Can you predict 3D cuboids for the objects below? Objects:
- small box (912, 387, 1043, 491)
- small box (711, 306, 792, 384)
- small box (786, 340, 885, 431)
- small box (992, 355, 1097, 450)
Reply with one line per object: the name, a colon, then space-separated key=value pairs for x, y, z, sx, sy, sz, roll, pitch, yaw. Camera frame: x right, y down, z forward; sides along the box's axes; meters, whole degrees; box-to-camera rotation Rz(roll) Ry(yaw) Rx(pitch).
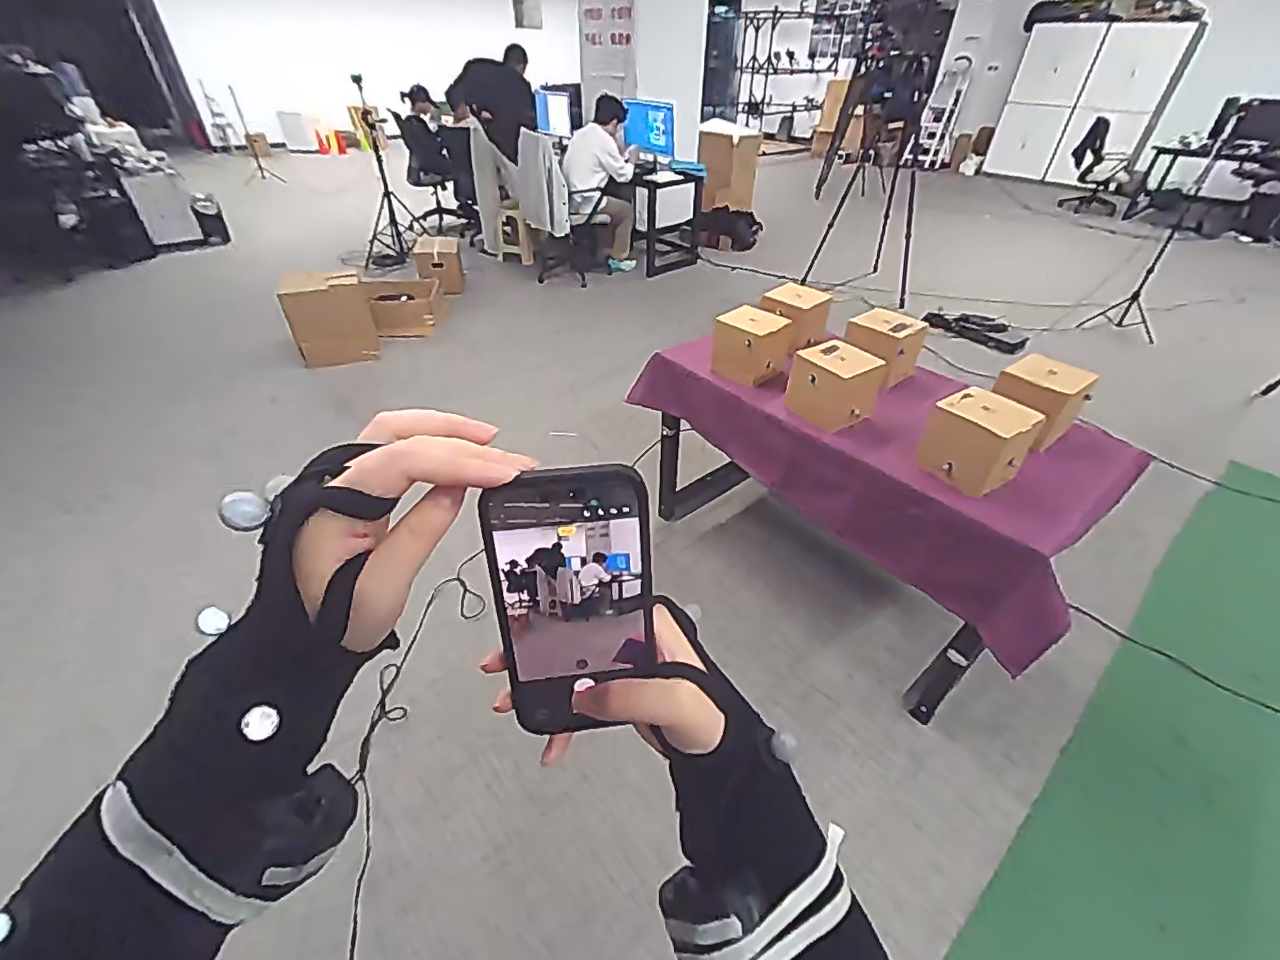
small box: x=0.789 y=-0.092 z=1.280 sx=0.168 sy=0.176 sz=0.179 roll=-21 pitch=44 yaw=-26
small box: x=0.339 y=-0.418 z=1.676 sx=0.179 sy=0.176 sz=0.168 roll=33 pitch=48 yaw=32
small box: x=0.527 y=-0.259 z=1.482 sx=0.168 sy=0.176 sz=0.179 roll=-22 pitch=45 yaw=-26
small box: x=1.041 y=-0.206 z=1.428 sx=0.179 sy=0.176 sz=0.168 roll=-24 pitch=45 yaw=-27
